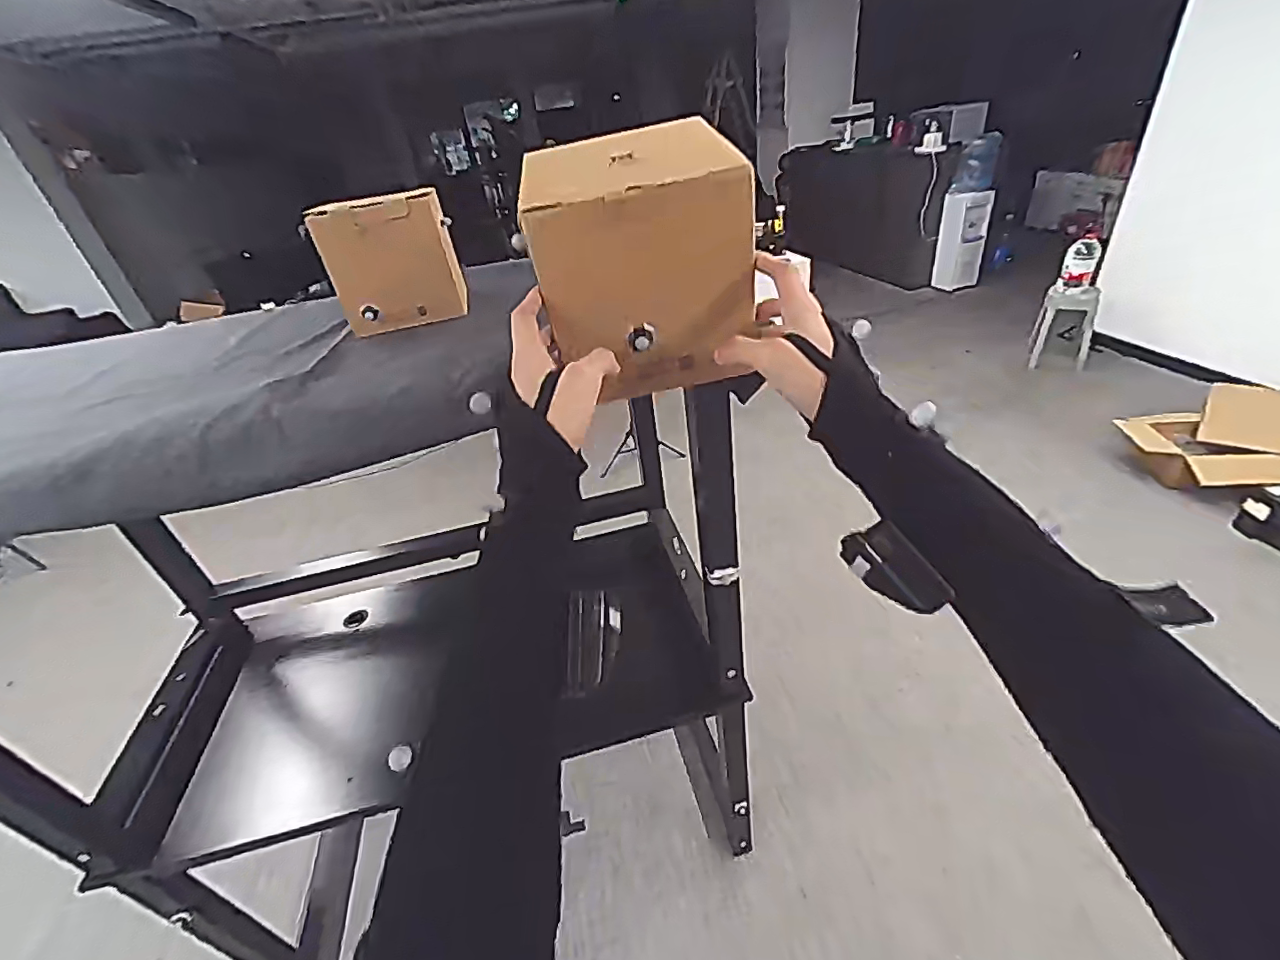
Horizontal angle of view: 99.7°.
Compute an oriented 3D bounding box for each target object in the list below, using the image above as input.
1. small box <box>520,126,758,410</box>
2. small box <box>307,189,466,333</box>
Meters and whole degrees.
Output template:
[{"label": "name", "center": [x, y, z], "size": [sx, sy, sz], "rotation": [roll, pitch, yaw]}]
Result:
[{"label": "small box", "center": [-0.001, -0.188, 0.480], "size": [0.168, 0.176, 0.179], "rotation": [-12, 44, 0]}, {"label": "small box", "center": [-0.376, -0.339, 0.840], "size": [0.168, 0.176, 0.179], "rotation": [-15, 33, -9]}]
